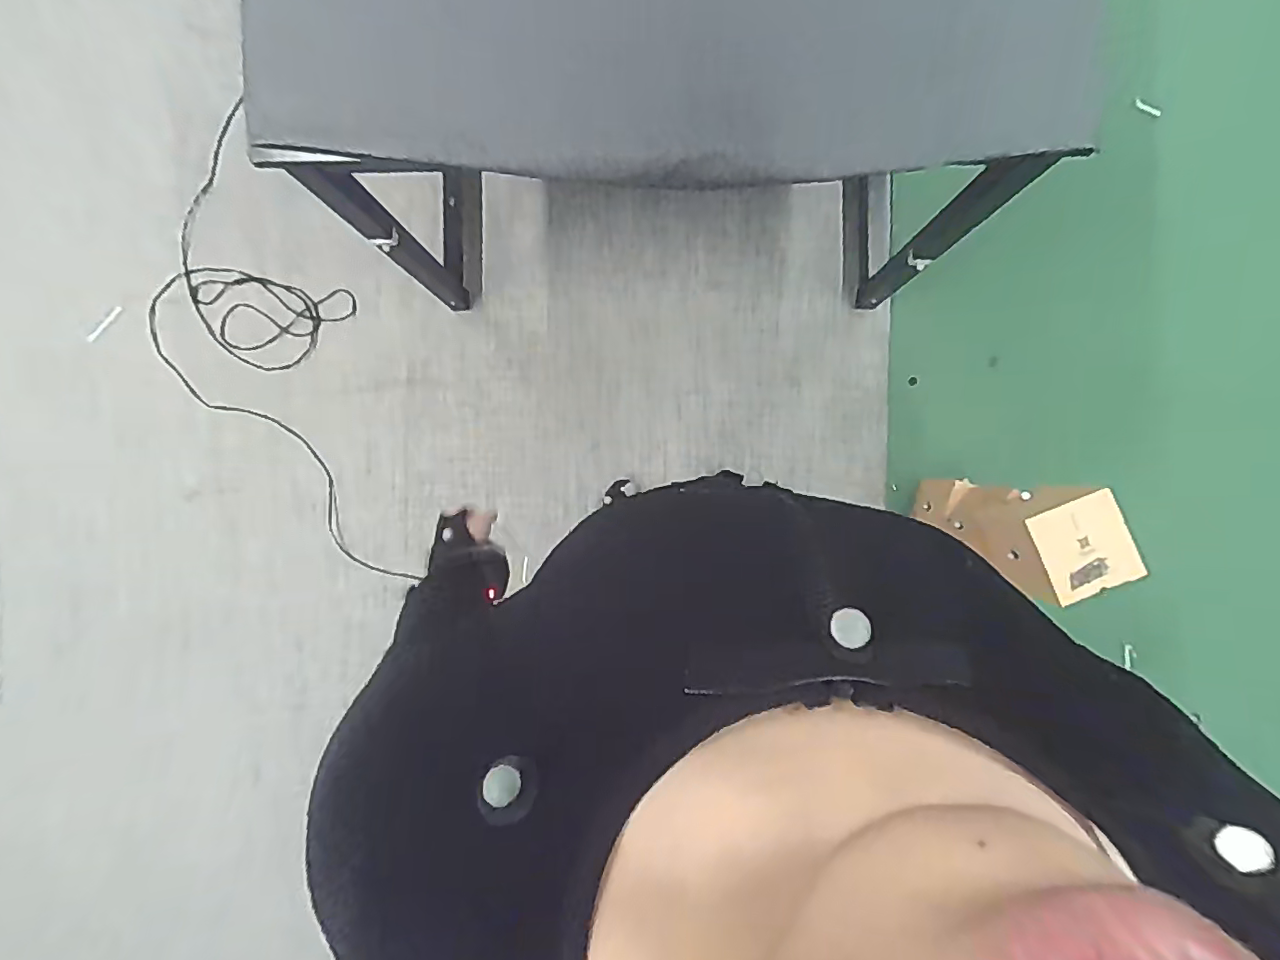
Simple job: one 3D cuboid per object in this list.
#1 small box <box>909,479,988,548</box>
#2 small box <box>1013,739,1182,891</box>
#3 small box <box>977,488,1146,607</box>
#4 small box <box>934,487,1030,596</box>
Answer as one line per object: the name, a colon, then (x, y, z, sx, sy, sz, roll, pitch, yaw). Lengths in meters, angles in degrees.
small box: (0.826, 0.101, 1.384, 0.179, 0.176, 0.168, 17, 91, 1)
small box: (0.871, 0.642, 1.055, 0.179, 0.176, 0.168, -19, 90, 2)
small box: (0.810, 0.123, 1.059, 0.168, 0.176, 0.179, -22, 89, 3)
small box: (0.815, 0.132, 1.223, 0.179, 0.176, 0.168, 38, 92, 1)
